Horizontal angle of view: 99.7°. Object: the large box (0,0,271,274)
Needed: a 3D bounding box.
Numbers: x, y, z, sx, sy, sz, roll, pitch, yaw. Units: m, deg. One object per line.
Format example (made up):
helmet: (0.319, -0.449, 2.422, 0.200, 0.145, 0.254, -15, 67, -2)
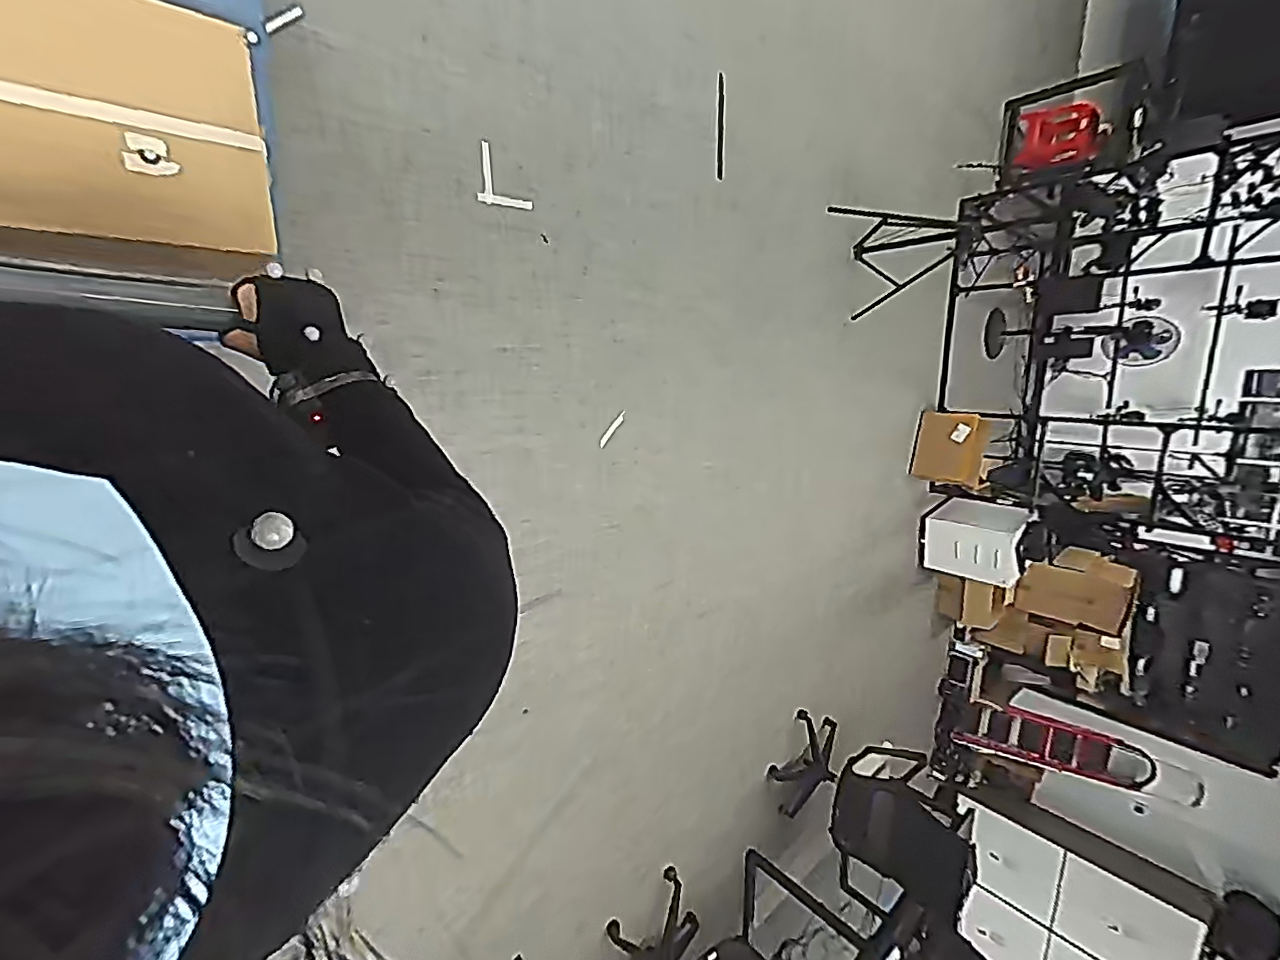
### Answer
large box: (-0.834, -0.502, 0.800, 0.408, 0.320, 0.320, -11, 107, -42)
